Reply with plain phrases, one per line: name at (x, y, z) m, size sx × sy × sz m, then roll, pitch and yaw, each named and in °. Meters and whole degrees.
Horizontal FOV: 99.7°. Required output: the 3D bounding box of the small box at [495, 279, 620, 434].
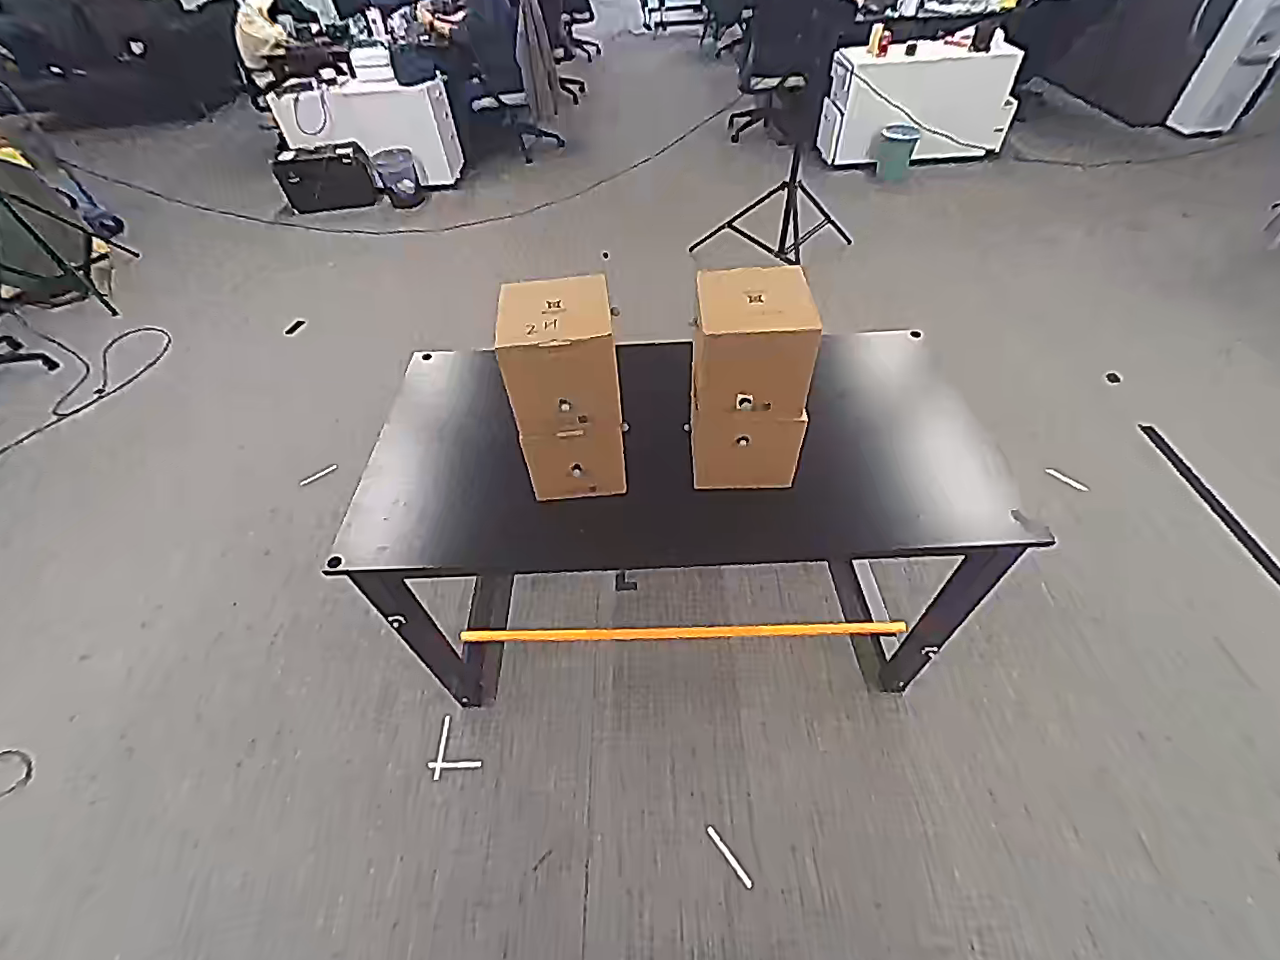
small box at (-0.125, -0.197, 0.866) m, size 0.168 × 0.176 × 0.179 m, roll -7°, pitch 49°, yaw -2°

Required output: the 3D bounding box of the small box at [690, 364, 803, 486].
small box at (0.182, -0.100, 0.980) m, size 0.179 × 0.176 × 0.168 m, roll -1°, pitch 49°, yaw 2°

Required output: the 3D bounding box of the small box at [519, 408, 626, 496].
small box at (-0.117, -0.085, 0.989) m, size 0.168 × 0.176 × 0.179 m, roll -6°, pitch 49°, yaw -1°

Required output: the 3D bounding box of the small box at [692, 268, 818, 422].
small box at (0.171, -0.214, 0.864) m, size 0.168 × 0.176 × 0.179 m, roll -3°, pitch 50°, yaw 3°
